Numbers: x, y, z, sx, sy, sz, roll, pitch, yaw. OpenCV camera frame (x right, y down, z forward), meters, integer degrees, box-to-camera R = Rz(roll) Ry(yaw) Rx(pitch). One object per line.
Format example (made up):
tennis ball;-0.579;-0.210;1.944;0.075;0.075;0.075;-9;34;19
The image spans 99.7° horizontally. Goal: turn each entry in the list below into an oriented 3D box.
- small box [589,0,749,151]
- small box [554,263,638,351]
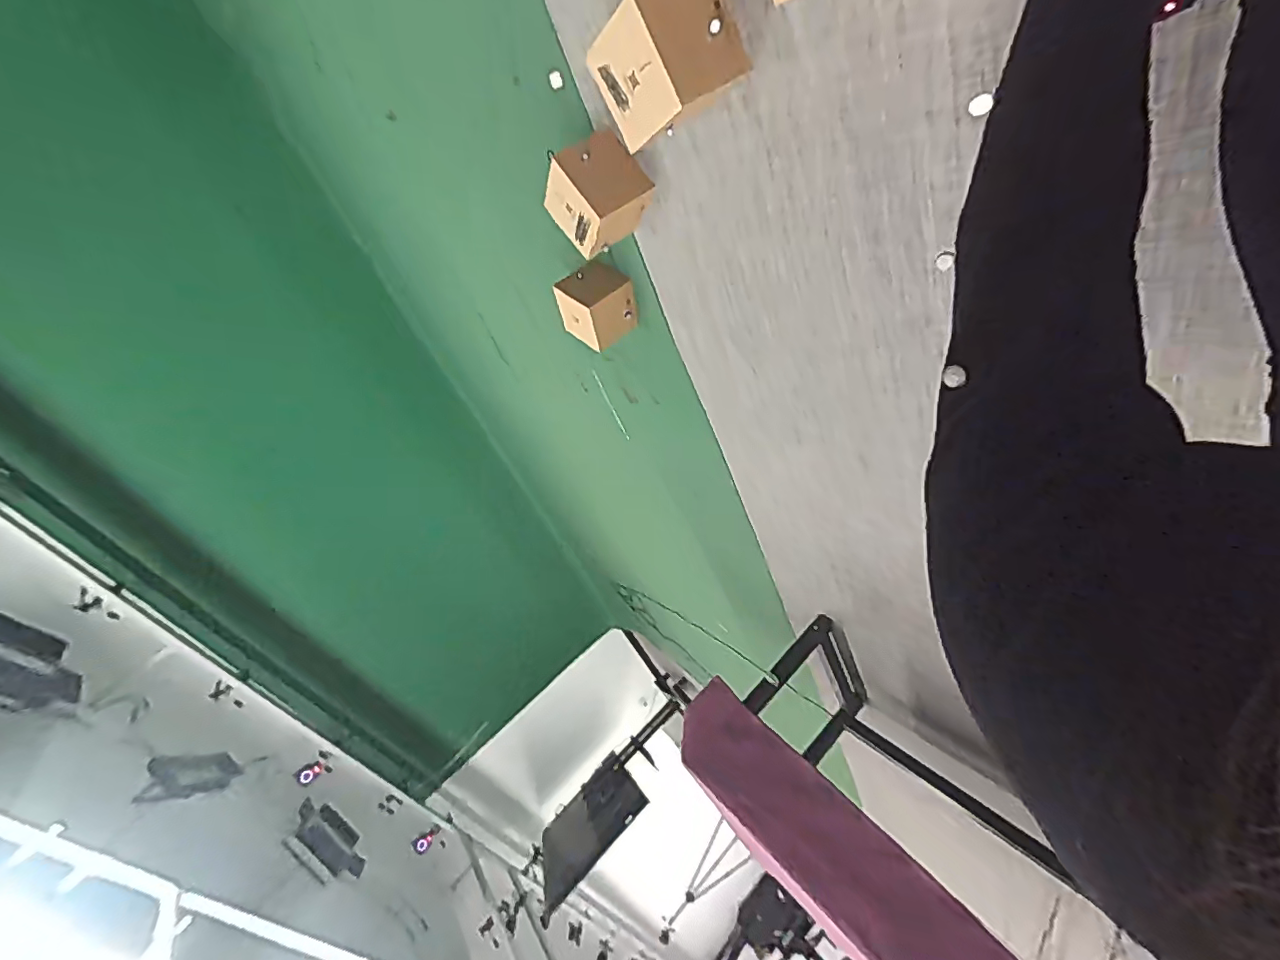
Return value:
small box;0.049;-0.702;0.910;0.168;0.176;0.179;58;159;-22
small box;-0.127;-0.530;1.636;0.179;0.176;0.168;39;159;29
